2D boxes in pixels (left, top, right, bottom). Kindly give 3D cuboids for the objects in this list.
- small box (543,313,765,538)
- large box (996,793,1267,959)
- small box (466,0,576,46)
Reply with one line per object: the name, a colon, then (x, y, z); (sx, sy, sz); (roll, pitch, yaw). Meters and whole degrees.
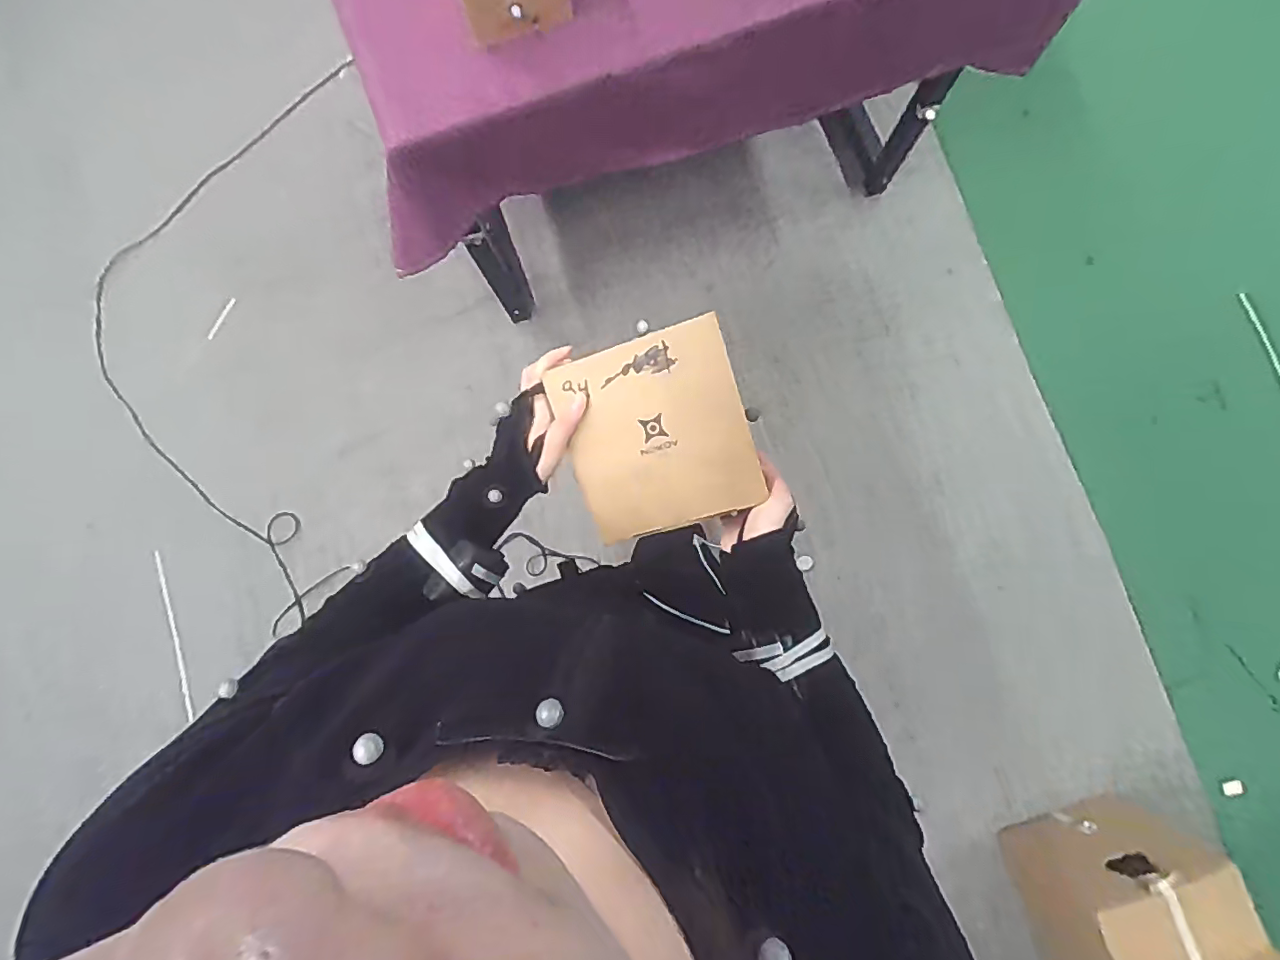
small box: (0.026, -0.066, 0.568); (0.168, 0.176, 0.179); (-17, 103, 13)
large box: (1.116, 1.023, 1.229); (0.320, 0.320, 0.408); (-18, 85, -2)
small box: (-0.205, -0.816, 0.812); (0.168, 0.176, 0.179); (-18, 84, -1)
